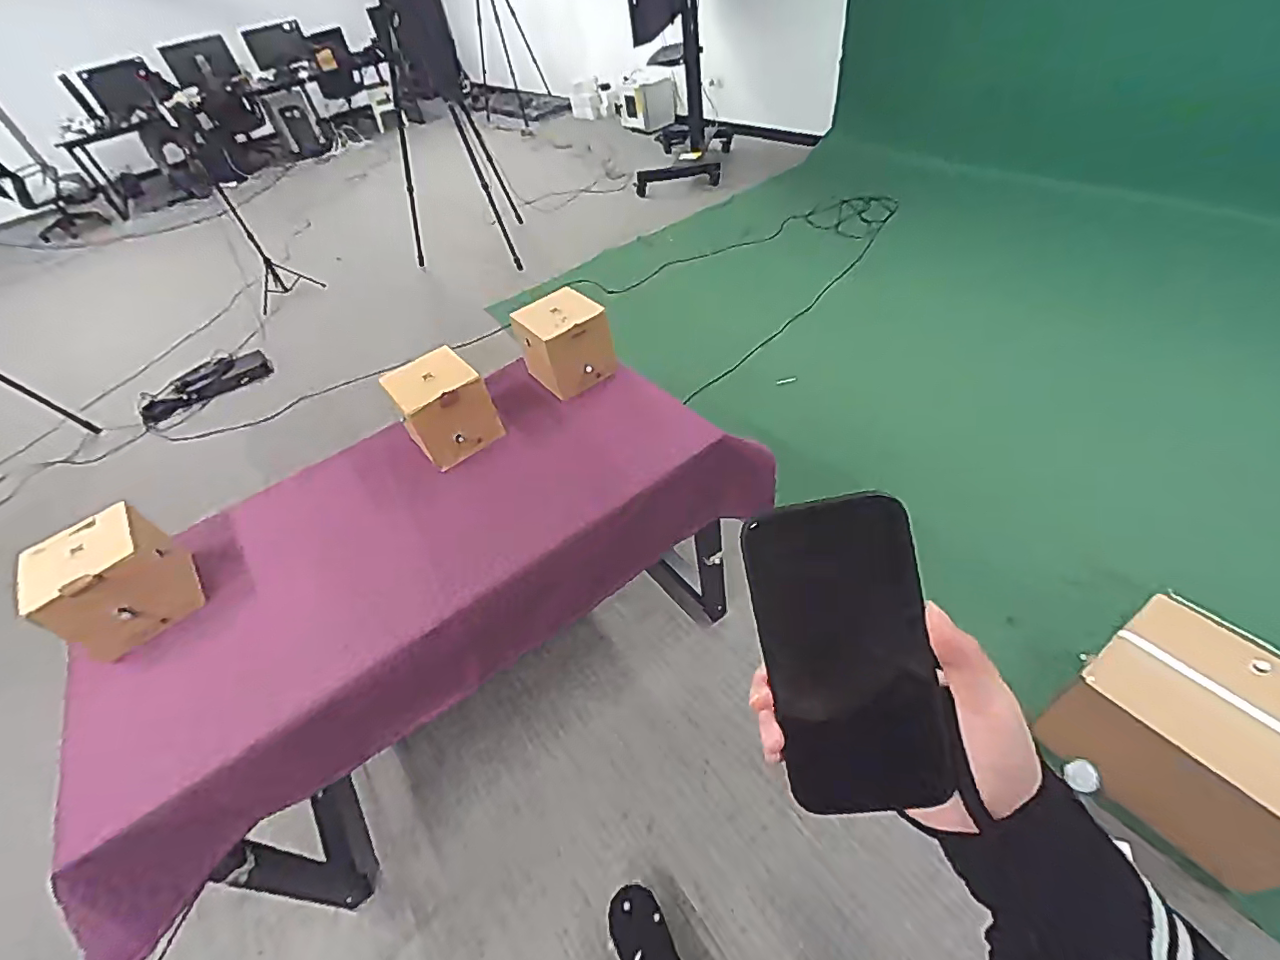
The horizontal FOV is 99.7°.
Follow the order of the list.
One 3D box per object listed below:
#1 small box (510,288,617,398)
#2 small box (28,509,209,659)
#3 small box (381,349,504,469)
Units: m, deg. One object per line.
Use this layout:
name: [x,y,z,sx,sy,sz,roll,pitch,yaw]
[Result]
small box: [-0.178,-0.324,1.287,0.168,0.176,0.179,-35,50,-18]
small box: [-0.922,0.192,0.968,0.168,0.176,0.179,-37,52,-23]
small box: [-0.427,-0.153,1.187,0.168,0.176,0.179,-36,51,-20]
